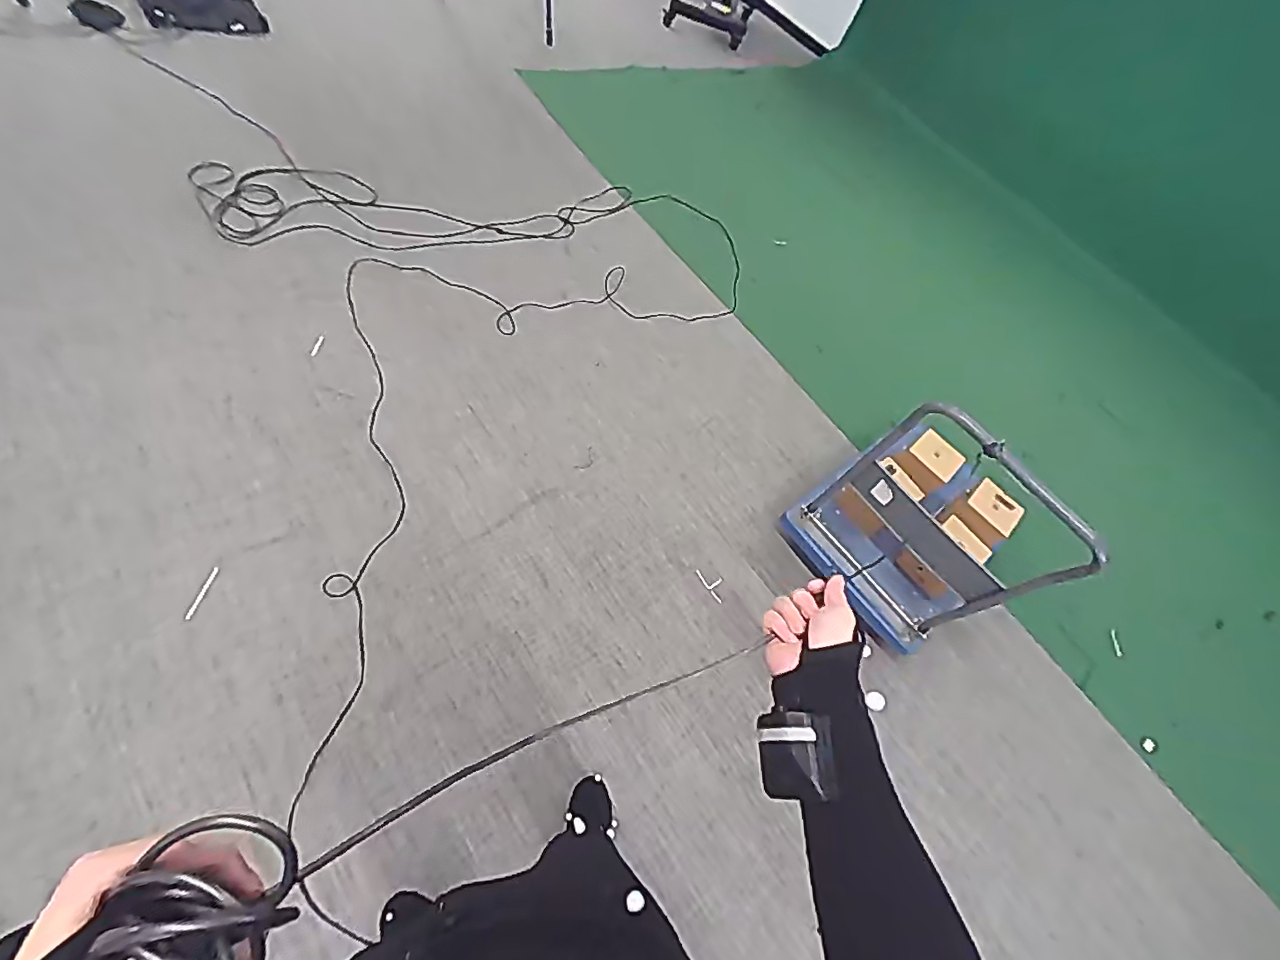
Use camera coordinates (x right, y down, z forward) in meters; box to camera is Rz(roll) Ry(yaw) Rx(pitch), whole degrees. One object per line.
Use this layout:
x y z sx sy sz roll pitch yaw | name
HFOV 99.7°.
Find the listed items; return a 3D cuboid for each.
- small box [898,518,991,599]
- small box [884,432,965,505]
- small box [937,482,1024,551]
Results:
0.986 0.260 1.764 0.179 0.176 0.168 -29 72 -29 | small box
1.022 -0.037 1.957 0.179 0.176 0.168 -34 75 -31 | small box
1.189 0.143 1.898 0.179 0.176 0.168 -35 73 -30 | small box
